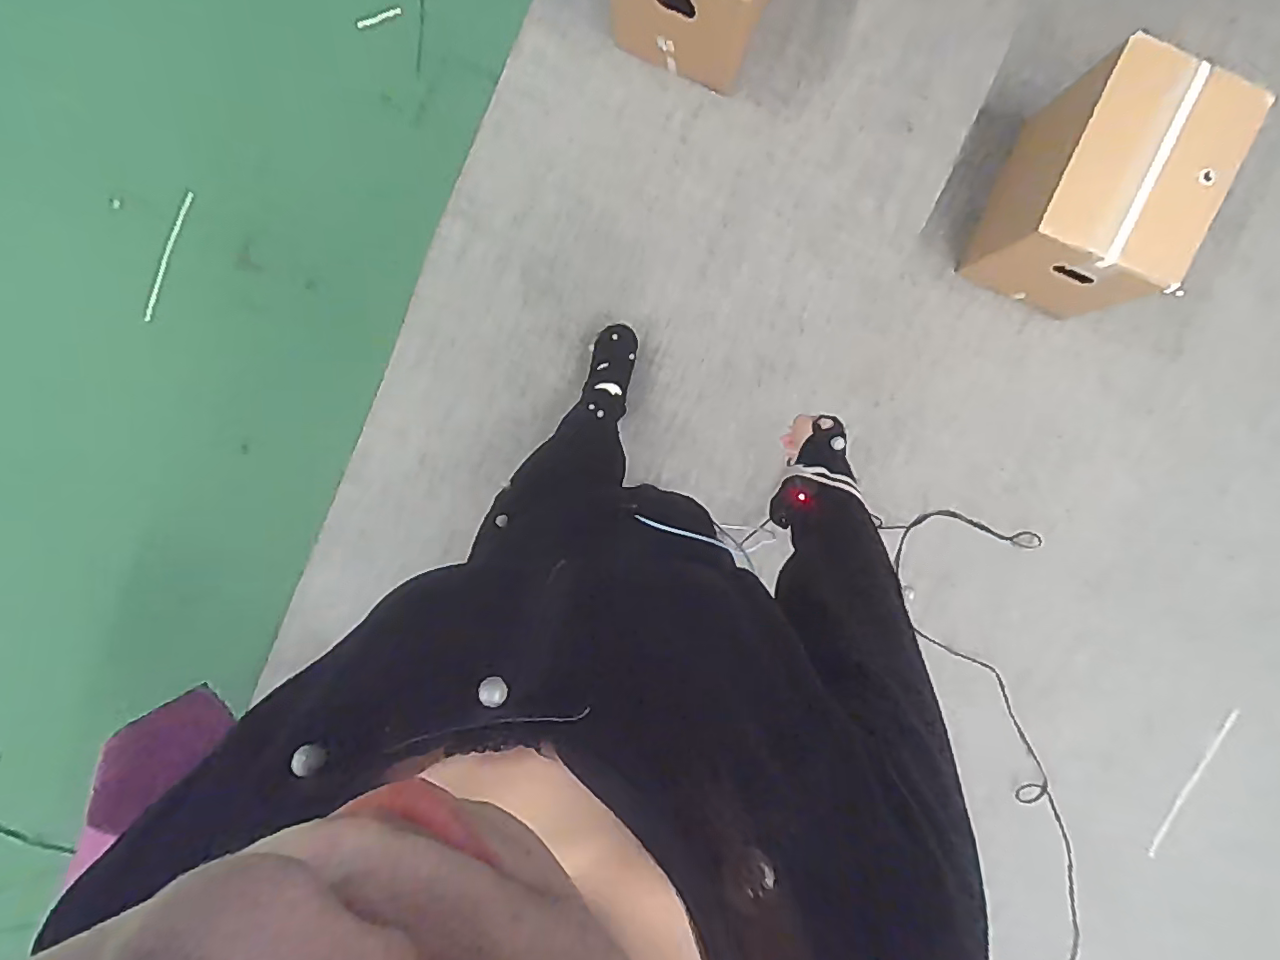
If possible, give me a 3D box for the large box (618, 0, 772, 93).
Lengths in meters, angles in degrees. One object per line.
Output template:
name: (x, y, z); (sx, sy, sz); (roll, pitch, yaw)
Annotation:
large box: (0.162, -1.191, 1.193); (0.320, 0.320, 0.408); (24, 95, -1)
